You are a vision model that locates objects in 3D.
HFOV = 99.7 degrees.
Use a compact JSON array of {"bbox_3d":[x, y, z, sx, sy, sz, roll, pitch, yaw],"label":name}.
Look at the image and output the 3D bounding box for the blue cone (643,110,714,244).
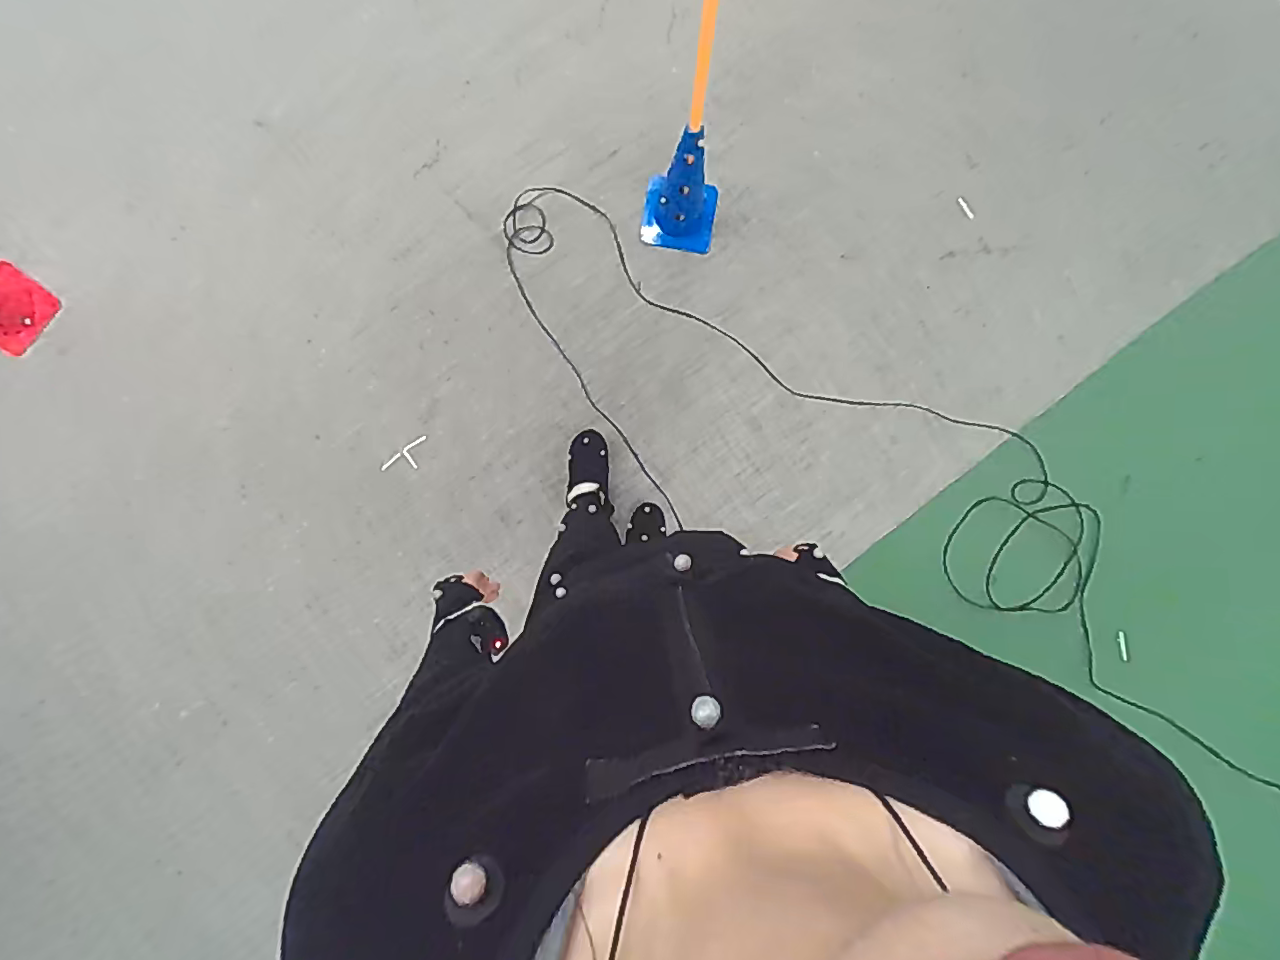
[{"bbox_3d":[0.113,-0.764,1.339,0.192,0.380,0.193,8,86,-2],"label":"blue cone"}]
